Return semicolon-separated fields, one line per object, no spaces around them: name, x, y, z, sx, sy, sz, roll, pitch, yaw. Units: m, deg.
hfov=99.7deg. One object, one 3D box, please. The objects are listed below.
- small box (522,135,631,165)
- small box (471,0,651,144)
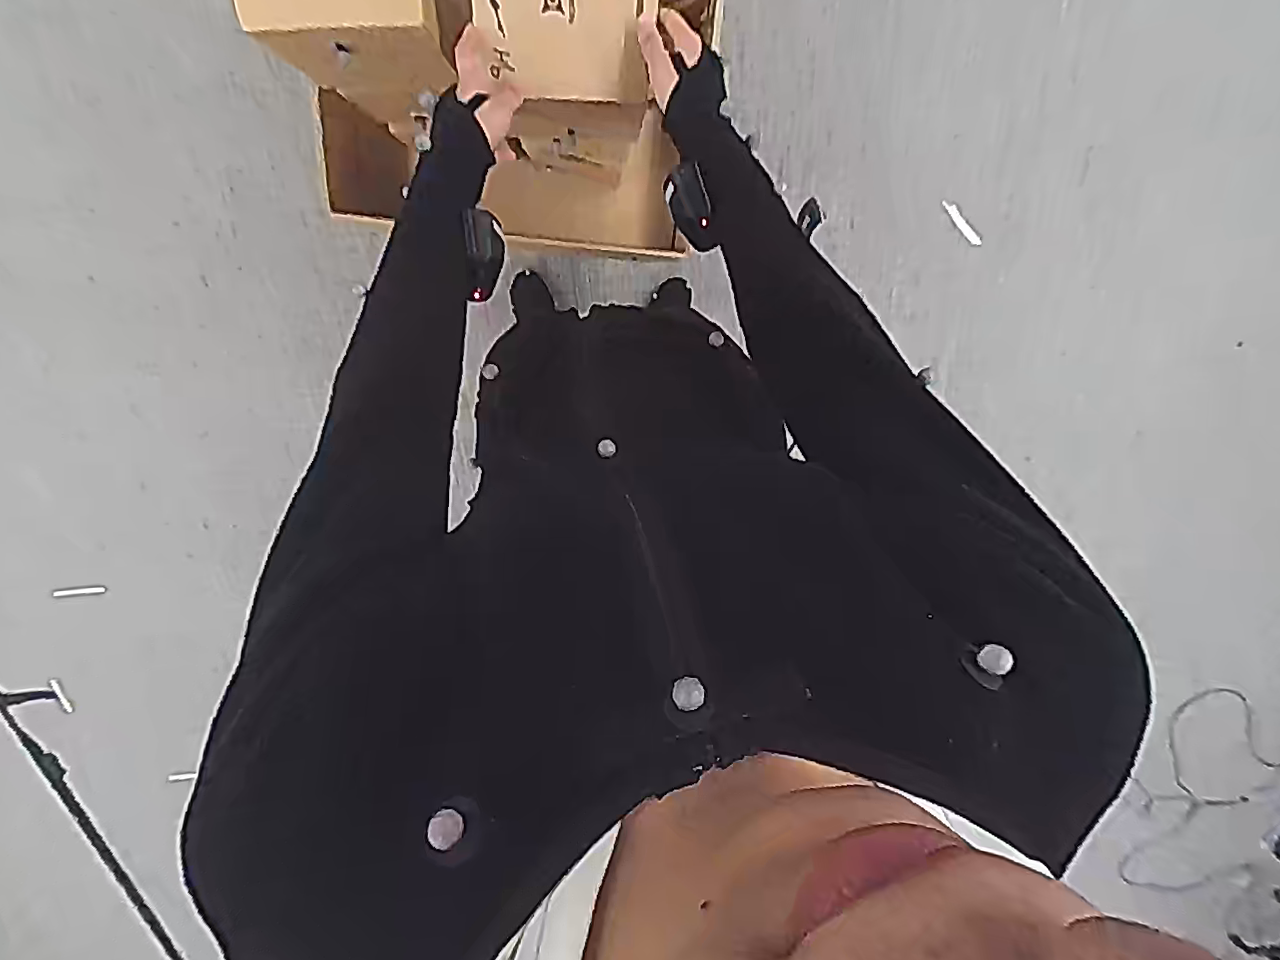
small box;-0.085;-0.559;0.750;0.168;0.176;0.179;7;109;-7
small box;-0.083;-0.489;0.601;0.179;0.176;0.168;0;110;-5
